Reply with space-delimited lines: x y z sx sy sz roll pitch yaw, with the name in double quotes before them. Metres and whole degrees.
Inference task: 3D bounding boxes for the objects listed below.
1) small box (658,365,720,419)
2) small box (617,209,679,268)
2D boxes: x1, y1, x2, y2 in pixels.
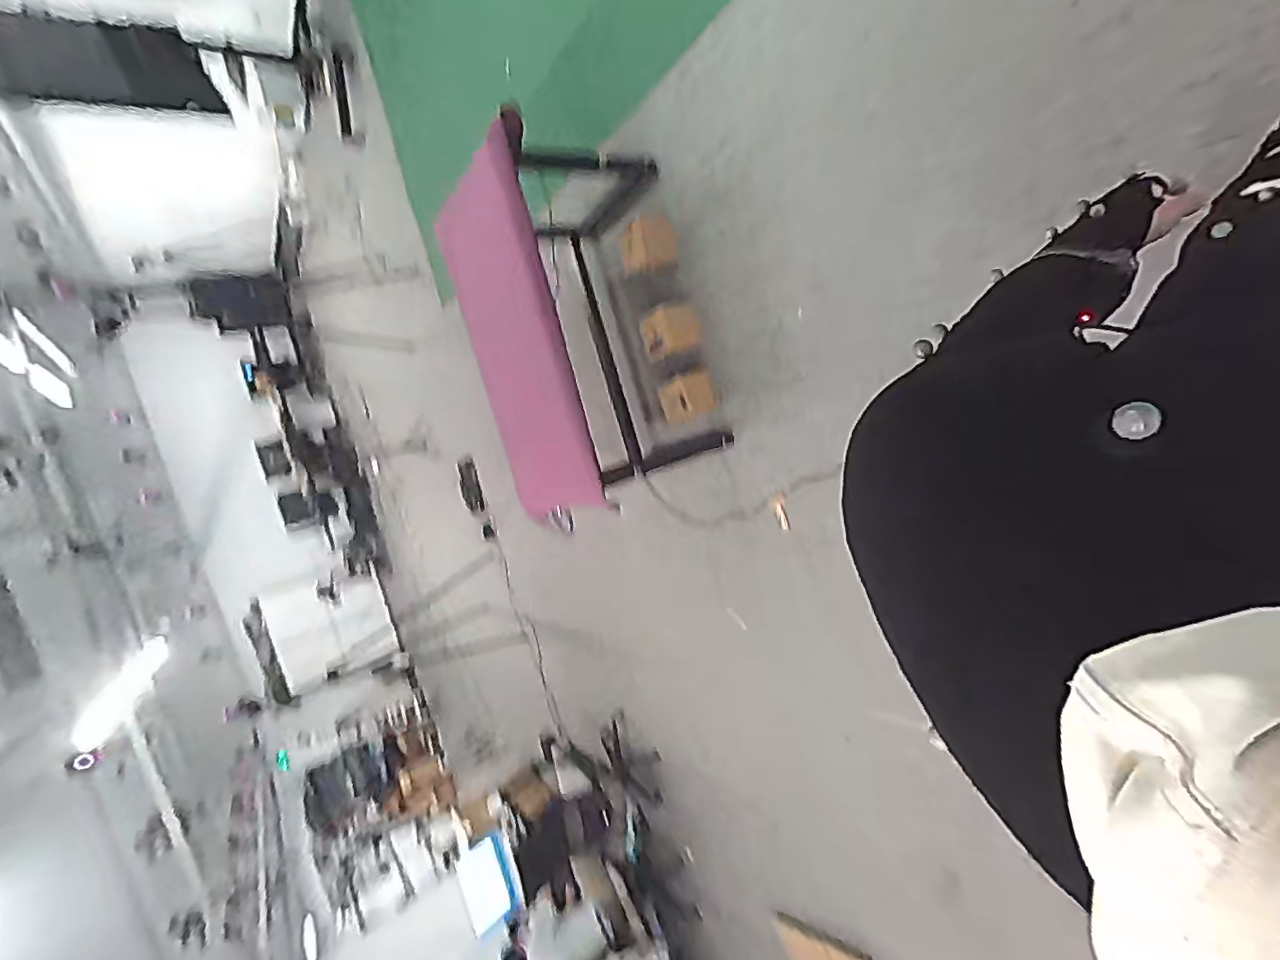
"small box" 0.211 -0.370 2.255 0.179 0.176 0.168 -16 93 55
"small box" 0.036 -0.981 2.194 0.168 0.176 0.179 -4 104 53
